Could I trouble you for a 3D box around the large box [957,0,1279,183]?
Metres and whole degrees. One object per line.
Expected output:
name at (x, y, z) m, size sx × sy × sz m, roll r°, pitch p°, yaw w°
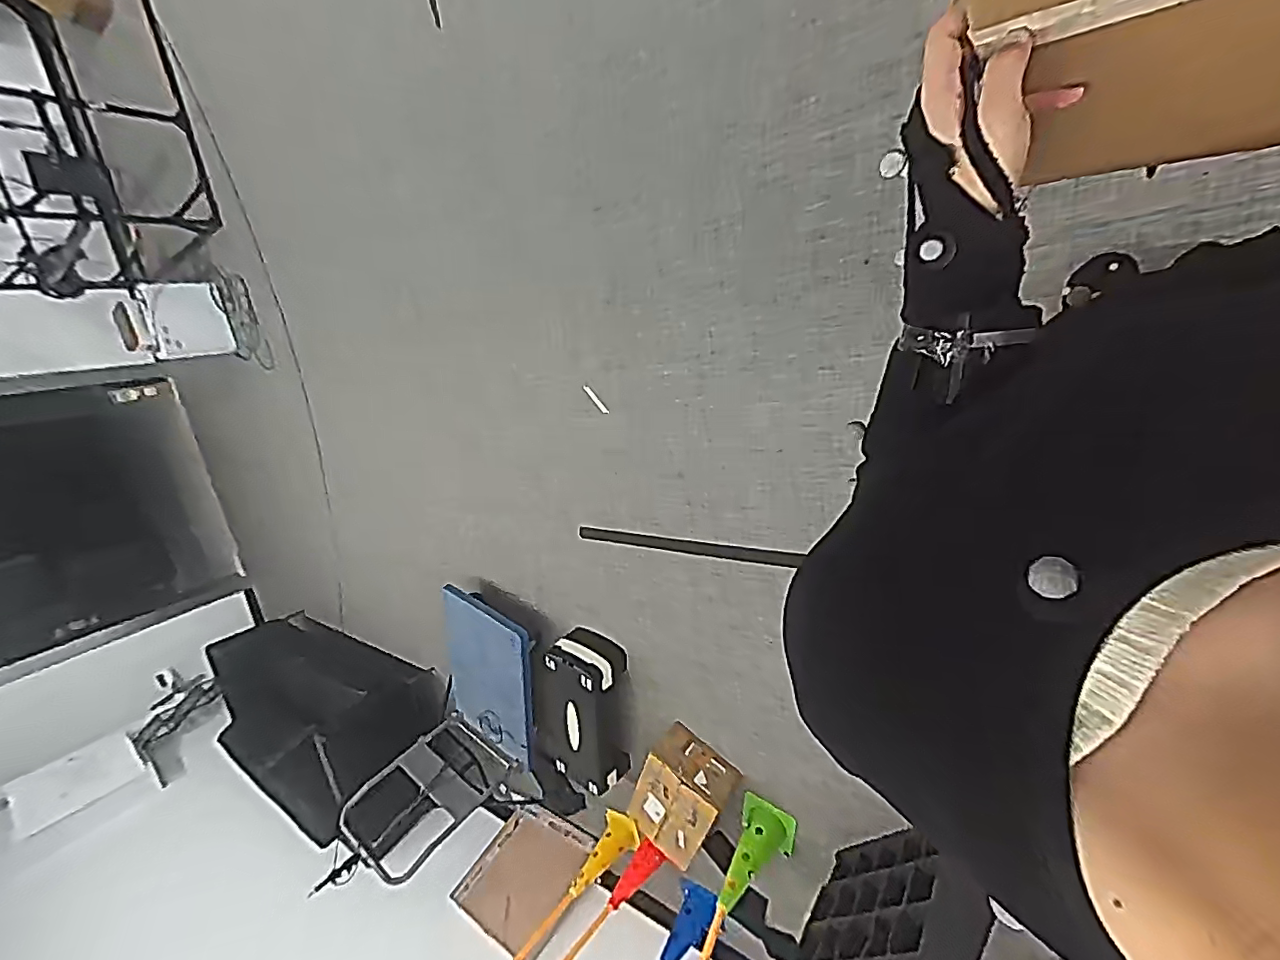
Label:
large box at (0.362, -0.373, 0.185) m, size 0.408 × 0.320 × 0.320 m, roll 10°, pitch 90°, yaw 40°
